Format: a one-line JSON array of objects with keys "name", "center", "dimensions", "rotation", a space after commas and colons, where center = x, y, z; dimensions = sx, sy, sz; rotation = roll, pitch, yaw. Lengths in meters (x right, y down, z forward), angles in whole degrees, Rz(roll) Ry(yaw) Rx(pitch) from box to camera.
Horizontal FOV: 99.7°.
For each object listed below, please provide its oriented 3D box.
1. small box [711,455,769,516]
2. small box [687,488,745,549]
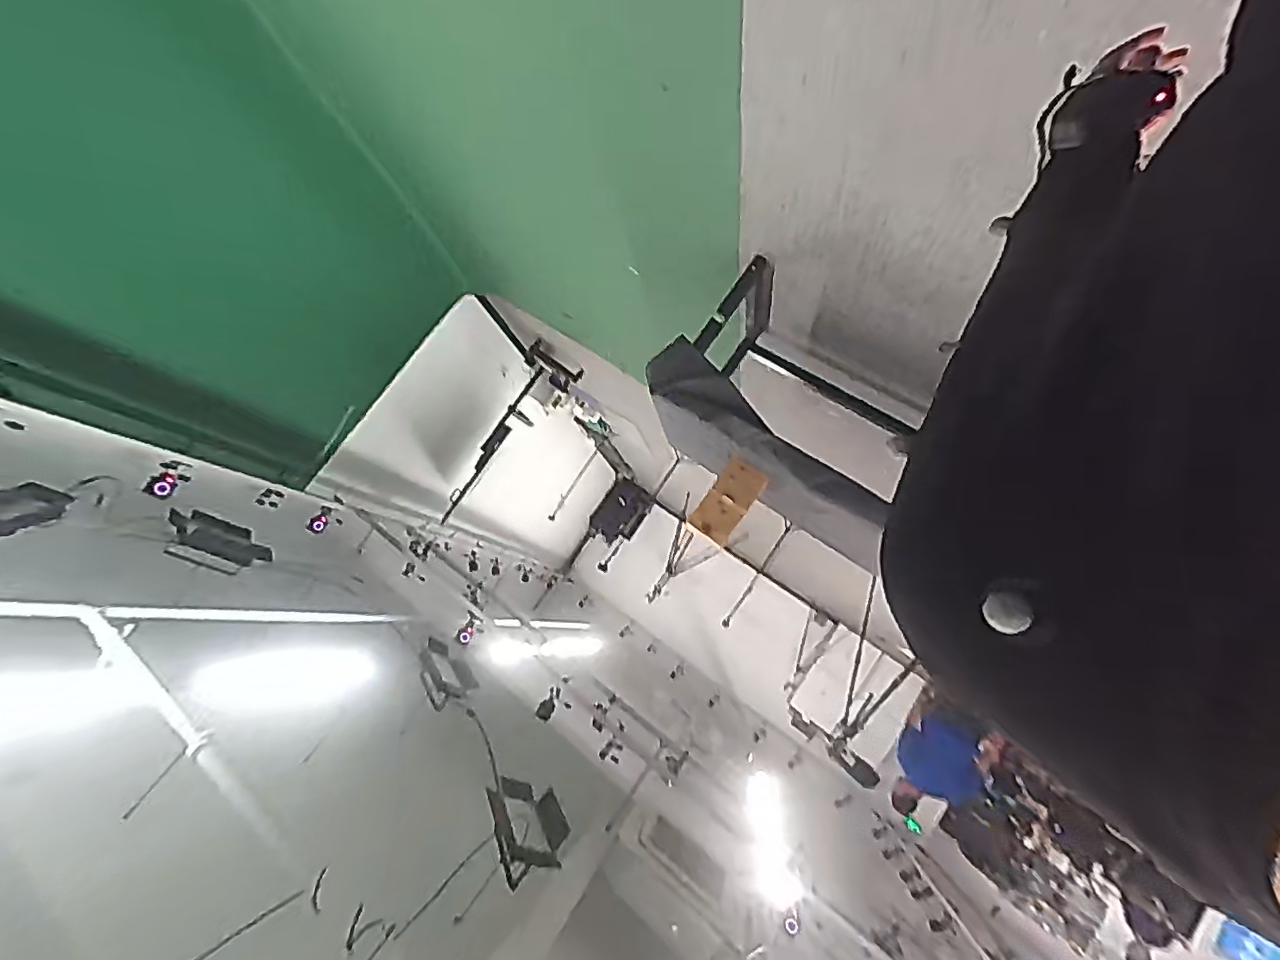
[{"name": "small box", "center": [0.402, 0.022, 2.173], "dimensions": [0.168, 0.176, 0.179], "rotation": [35, 175, 14]}, {"name": "small box", "center": [0.306, 0.154, 2.172], "dimensions": [0.168, 0.176, 0.179], "rotation": [36, 173, 13]}]
